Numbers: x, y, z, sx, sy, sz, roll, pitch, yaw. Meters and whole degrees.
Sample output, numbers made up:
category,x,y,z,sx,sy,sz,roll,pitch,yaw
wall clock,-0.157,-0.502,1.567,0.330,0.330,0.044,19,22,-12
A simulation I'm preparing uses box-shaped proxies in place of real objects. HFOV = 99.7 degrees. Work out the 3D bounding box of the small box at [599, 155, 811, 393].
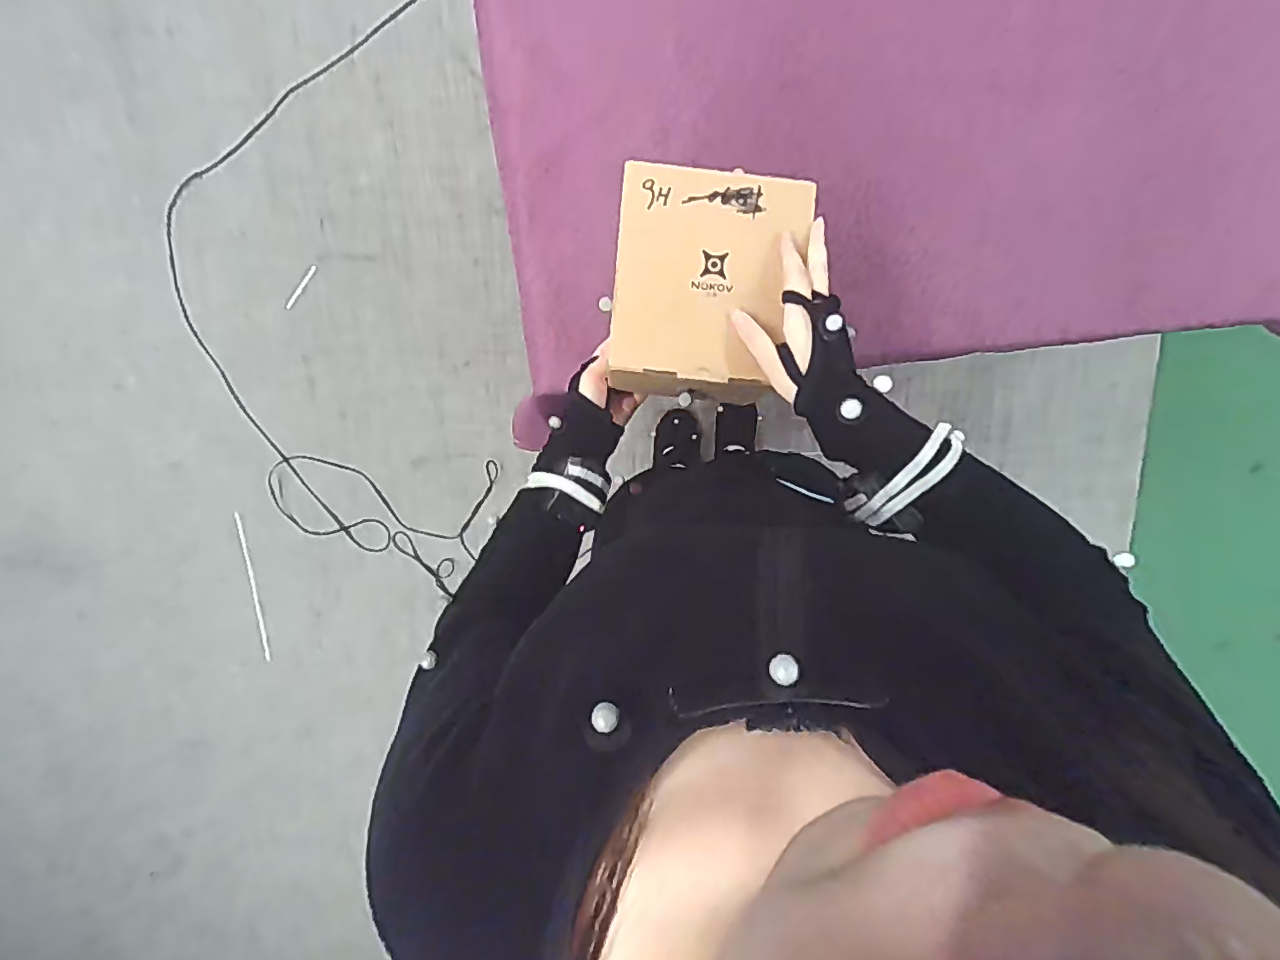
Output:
category,x,y,z,sx,sy,sz,roll,pitch,yaw
small box,0.052,-0.184,0.540,0.168,0.176,0.179,6,95,-4
